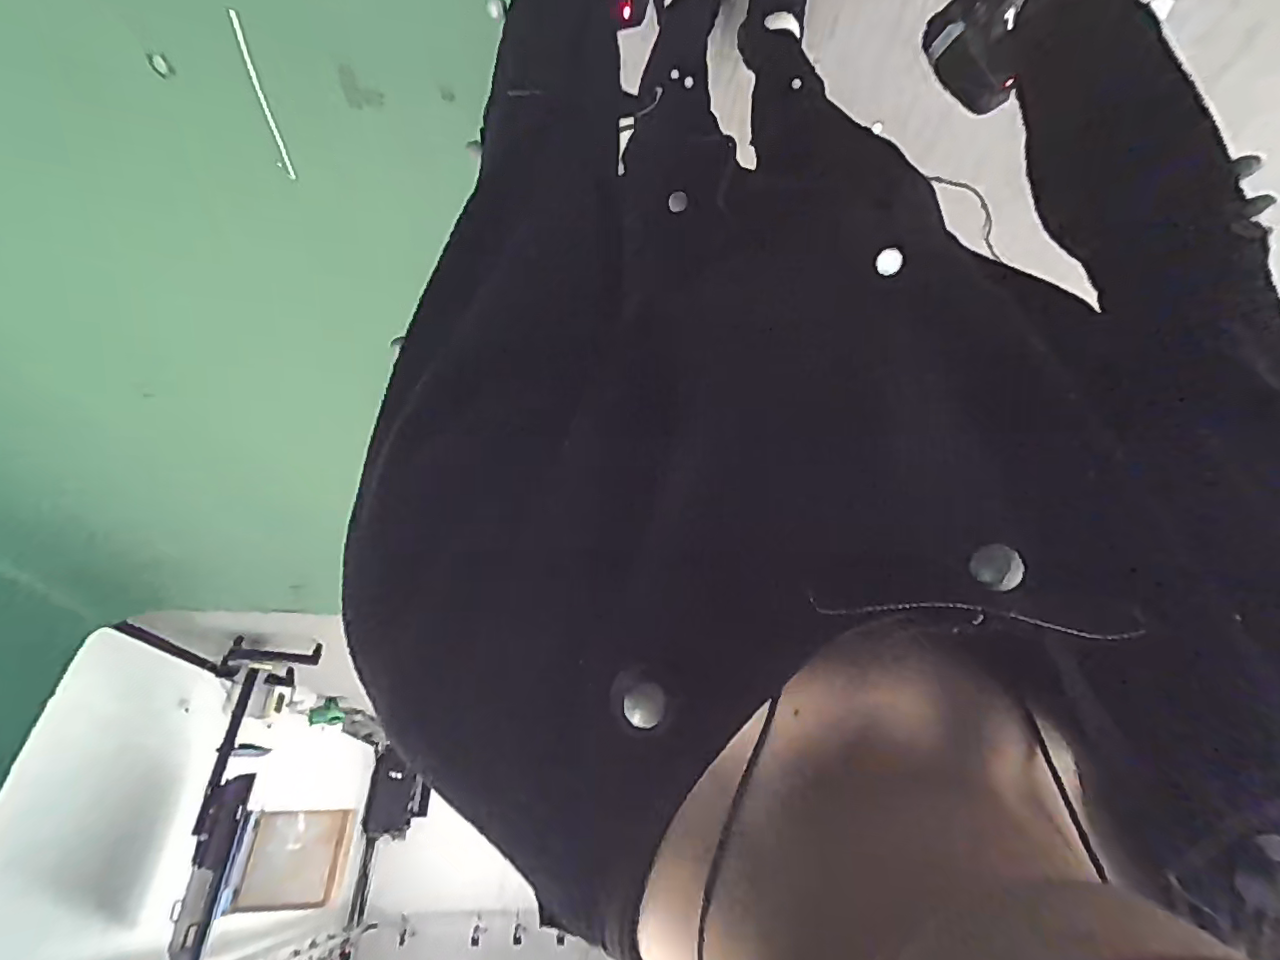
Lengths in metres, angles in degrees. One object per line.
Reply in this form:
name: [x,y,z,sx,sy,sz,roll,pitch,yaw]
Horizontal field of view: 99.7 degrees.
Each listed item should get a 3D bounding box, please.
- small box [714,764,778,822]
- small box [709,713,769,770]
small box: [0.368,1.113,1.924,0.179,0.176,0.168,5,145,-8]
small box: [0.362,0.975,2.014,0.179,0.176,0.168,3,145,-7]
